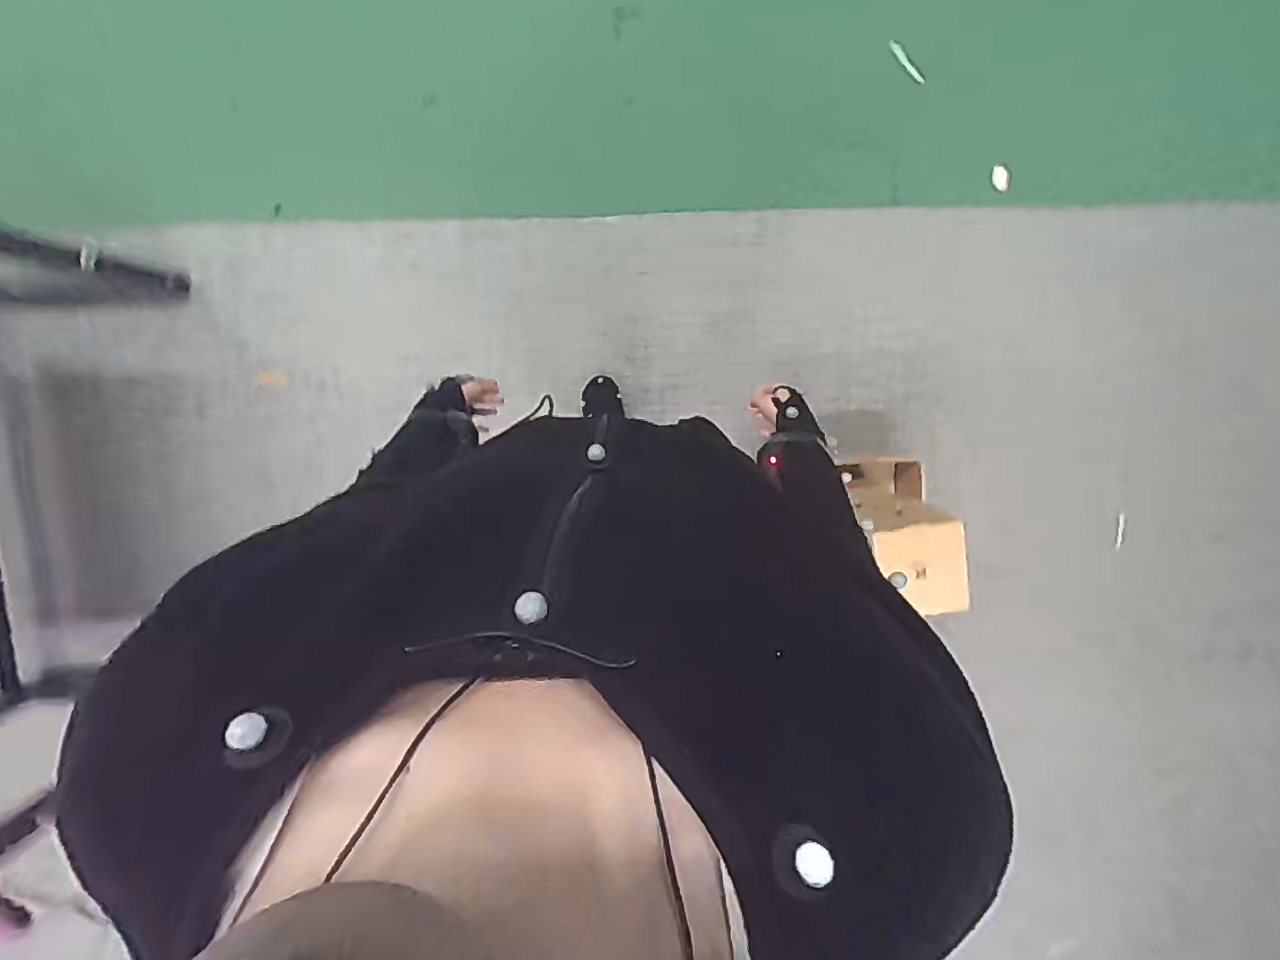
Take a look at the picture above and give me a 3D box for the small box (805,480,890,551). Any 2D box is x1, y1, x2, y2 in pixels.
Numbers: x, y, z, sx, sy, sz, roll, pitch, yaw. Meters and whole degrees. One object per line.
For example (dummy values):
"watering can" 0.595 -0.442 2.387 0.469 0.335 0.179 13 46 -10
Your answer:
"small box" 0.533 0.099 1.402 0.168 0.176 0.179 -6 100 2

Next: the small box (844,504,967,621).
"small box" 0.523 0.159 1.082 0.168 0.176 0.179 -9 99 3
